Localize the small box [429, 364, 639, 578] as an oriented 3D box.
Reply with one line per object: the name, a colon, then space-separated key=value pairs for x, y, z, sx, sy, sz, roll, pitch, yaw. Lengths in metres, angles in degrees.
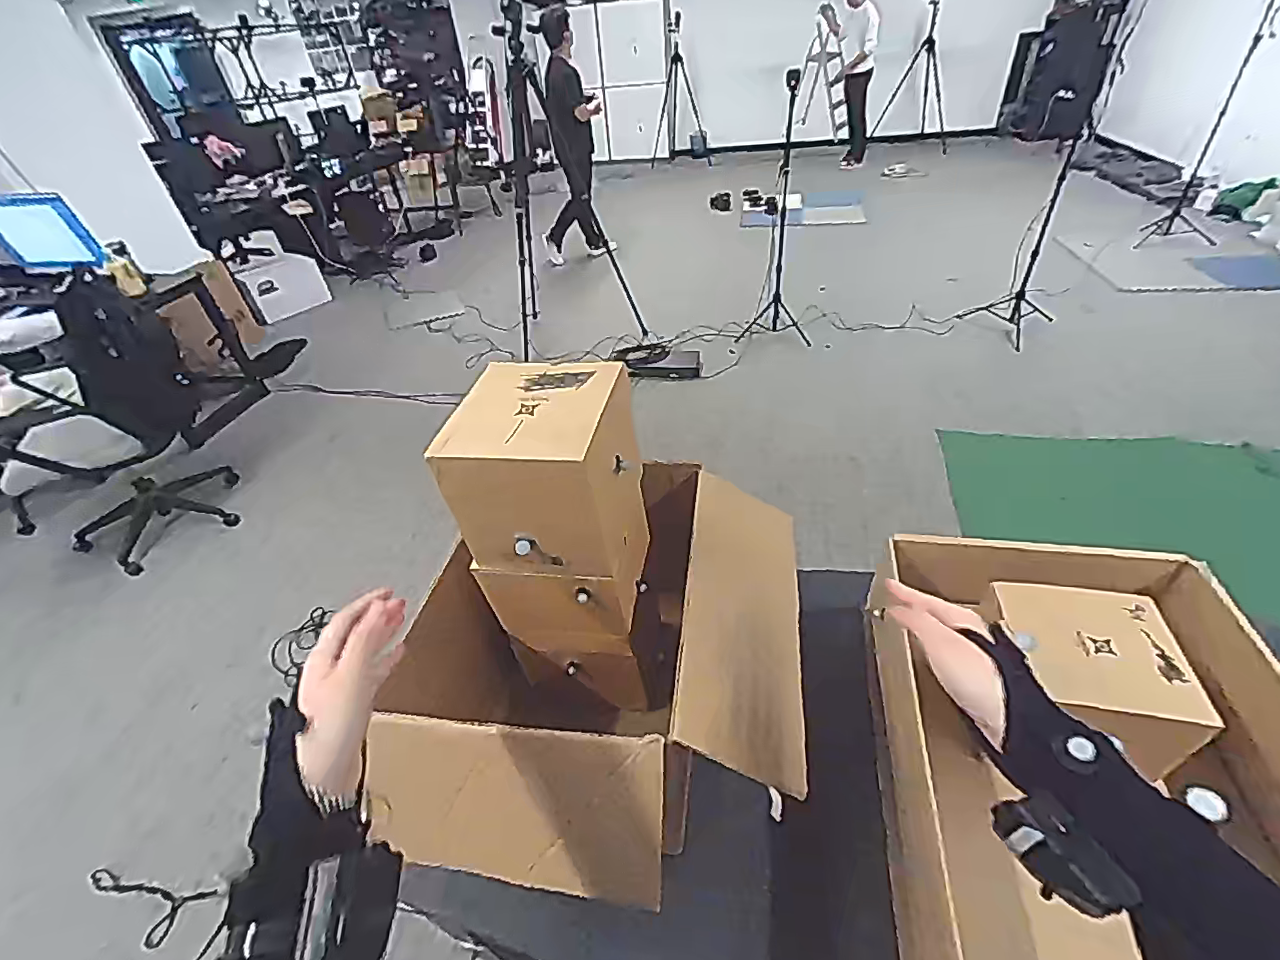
small box: x=-0.100 y=-0.015 z=0.613 sx=0.168 sy=0.176 sz=0.179 roll=2 pitch=44 yaw=13

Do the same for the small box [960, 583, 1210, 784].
small box: x=0.522 y=0.252 z=0.674 sx=0.179 sy=0.176 sz=0.168 roll=4 pitch=42 yaw=14
